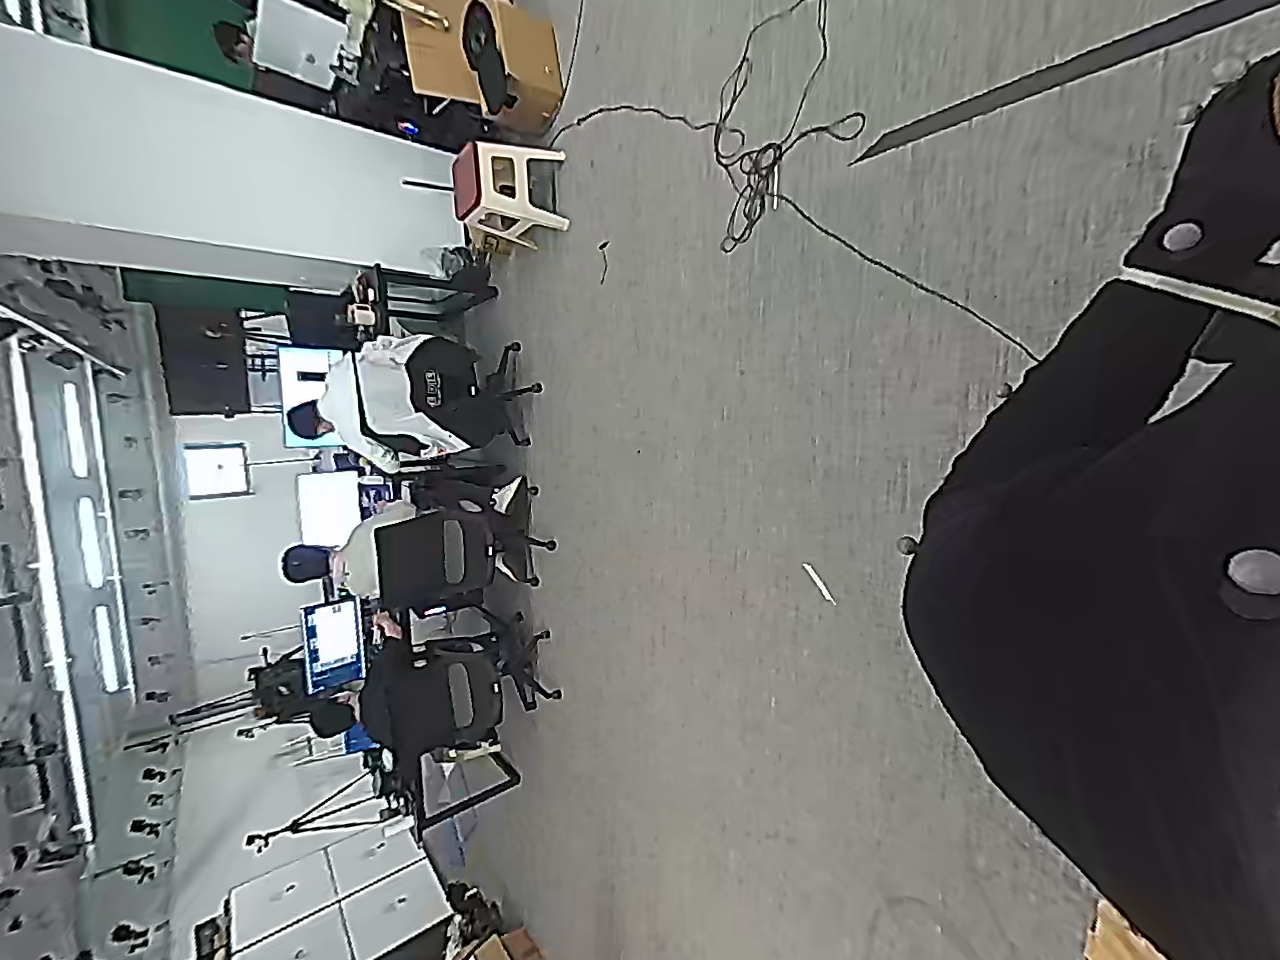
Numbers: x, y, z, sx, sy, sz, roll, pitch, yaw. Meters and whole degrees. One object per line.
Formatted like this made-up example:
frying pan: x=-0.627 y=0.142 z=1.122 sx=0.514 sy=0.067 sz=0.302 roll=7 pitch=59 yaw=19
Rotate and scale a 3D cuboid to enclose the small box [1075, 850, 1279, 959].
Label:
small box: x=0.757 y=0.672 z=0.765 sx=0.179 sy=0.176 sz=0.168 roll=14 pitch=106 yaw=51
